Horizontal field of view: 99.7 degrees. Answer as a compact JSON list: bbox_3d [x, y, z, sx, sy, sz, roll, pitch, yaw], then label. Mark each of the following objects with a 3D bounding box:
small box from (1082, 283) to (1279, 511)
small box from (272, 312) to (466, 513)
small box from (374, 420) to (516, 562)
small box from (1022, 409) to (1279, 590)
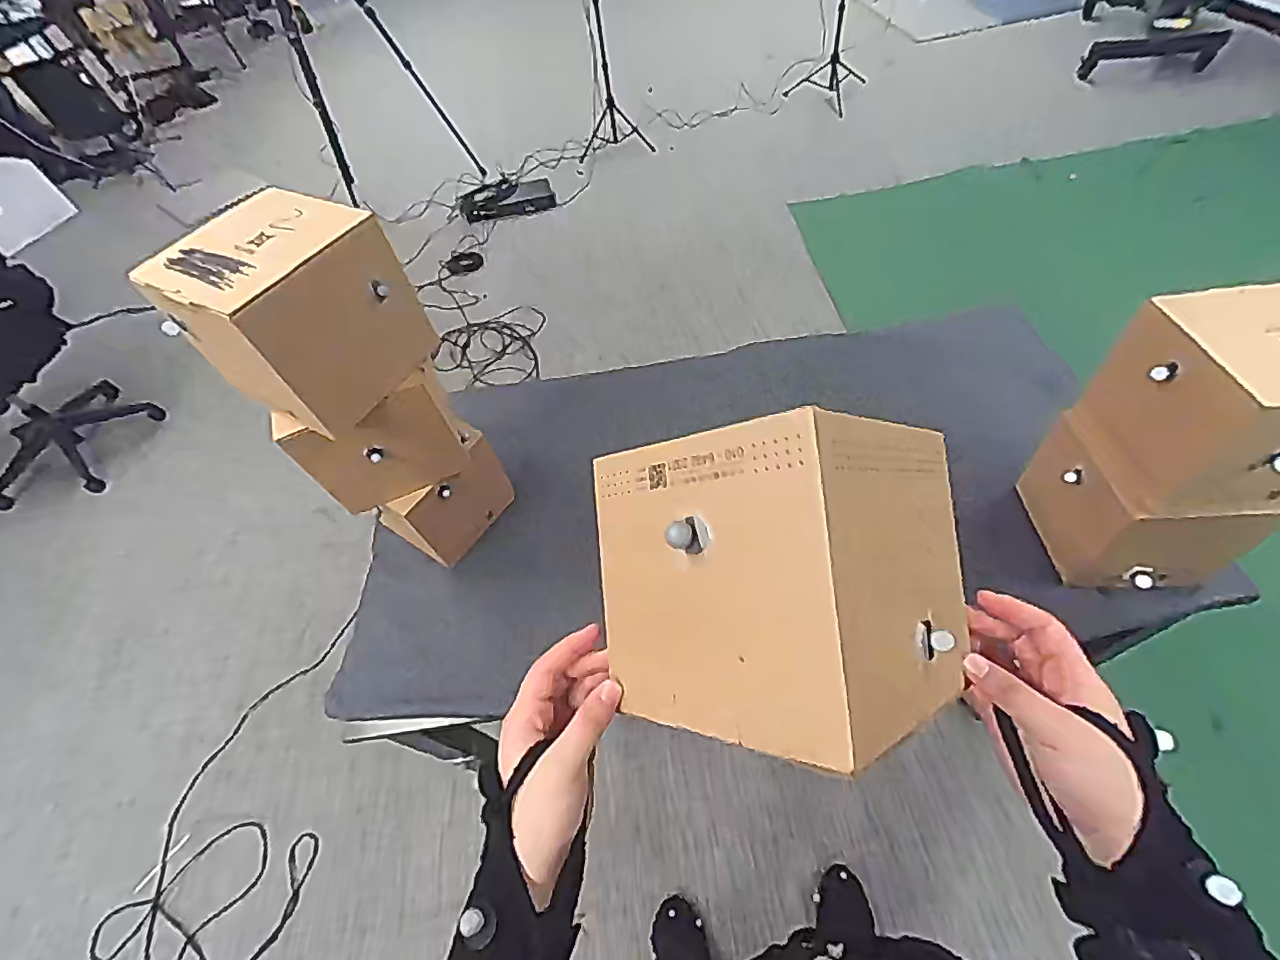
[{"bbox_3d":[0.624,-0.080,0.565,0.168,0.176,0.179,-5,49,7],"label":"small box"},{"bbox_3d":[-0.352,-0.086,0.728,0.179,0.176,0.168,-25,56,-8],"label":"small box"},{"bbox_3d":[-0.332,0.005,0.864,0.179,0.176,0.168,26,63,24],"label":"small box"},{"bbox_3d":[0.633,0.024,0.691,0.168,0.176,0.179,-3,51,9],"label":"small box"}]
